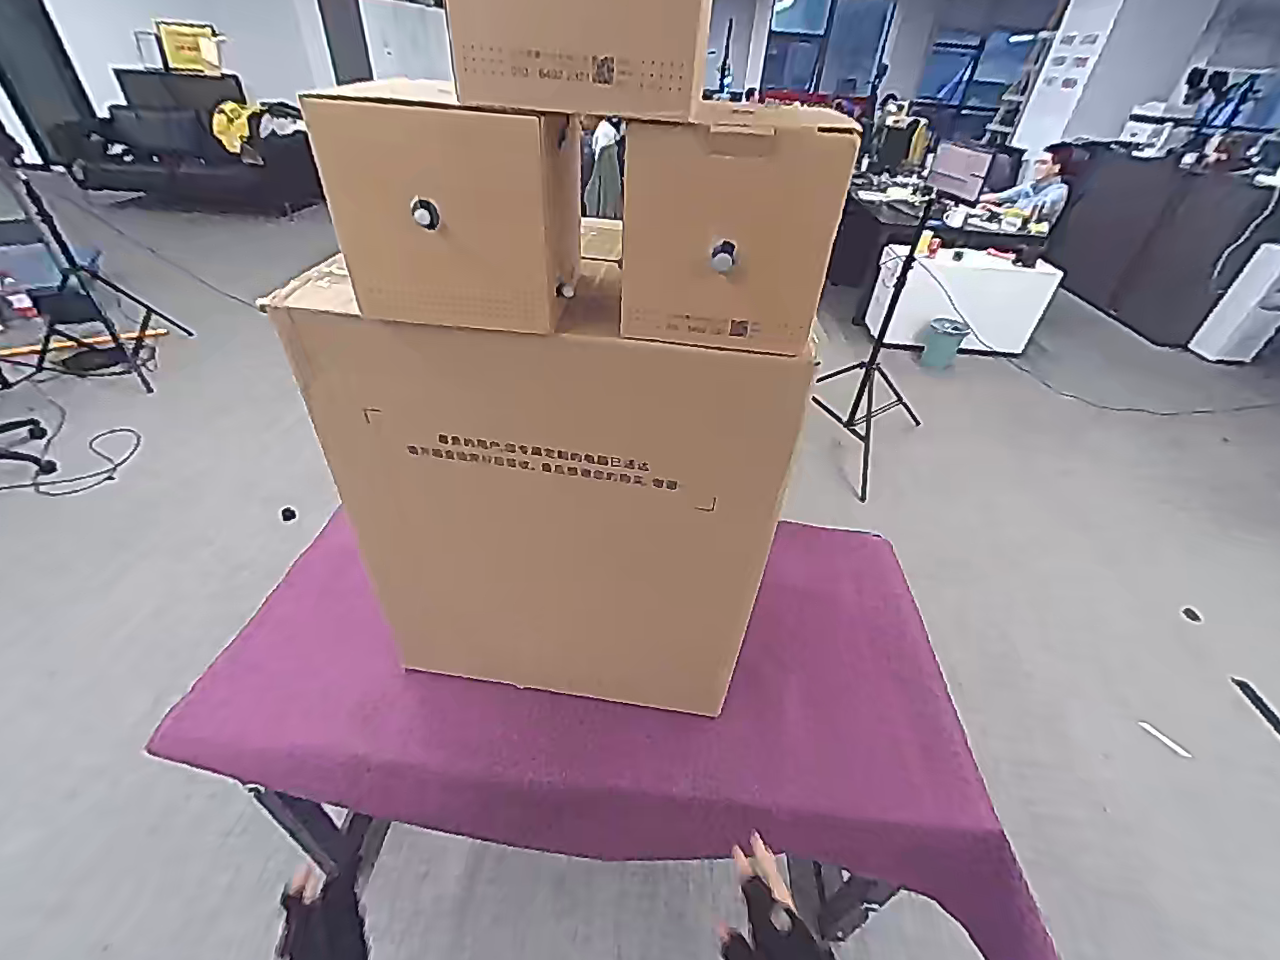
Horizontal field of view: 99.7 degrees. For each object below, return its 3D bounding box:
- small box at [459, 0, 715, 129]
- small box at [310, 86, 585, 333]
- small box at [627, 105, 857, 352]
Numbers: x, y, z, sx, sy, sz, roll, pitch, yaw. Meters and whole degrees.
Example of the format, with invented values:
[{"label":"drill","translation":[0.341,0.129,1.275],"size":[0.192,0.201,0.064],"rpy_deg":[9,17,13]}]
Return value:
[{"label":"small box","translation":[-0.028,-0.367,0.396],"size":[0.168,0.176,0.179],"rpy_deg":[8,38,3]},{"label":"small box","translation":[-0.148,-0.247,0.495],"size":[0.179,0.176,0.168],"rpy_deg":[5,38,2]},{"label":"small box","translation":[0.081,-0.233,0.496],"size":[0.168,0.176,0.179],"rpy_deg":[8,40,4]}]
